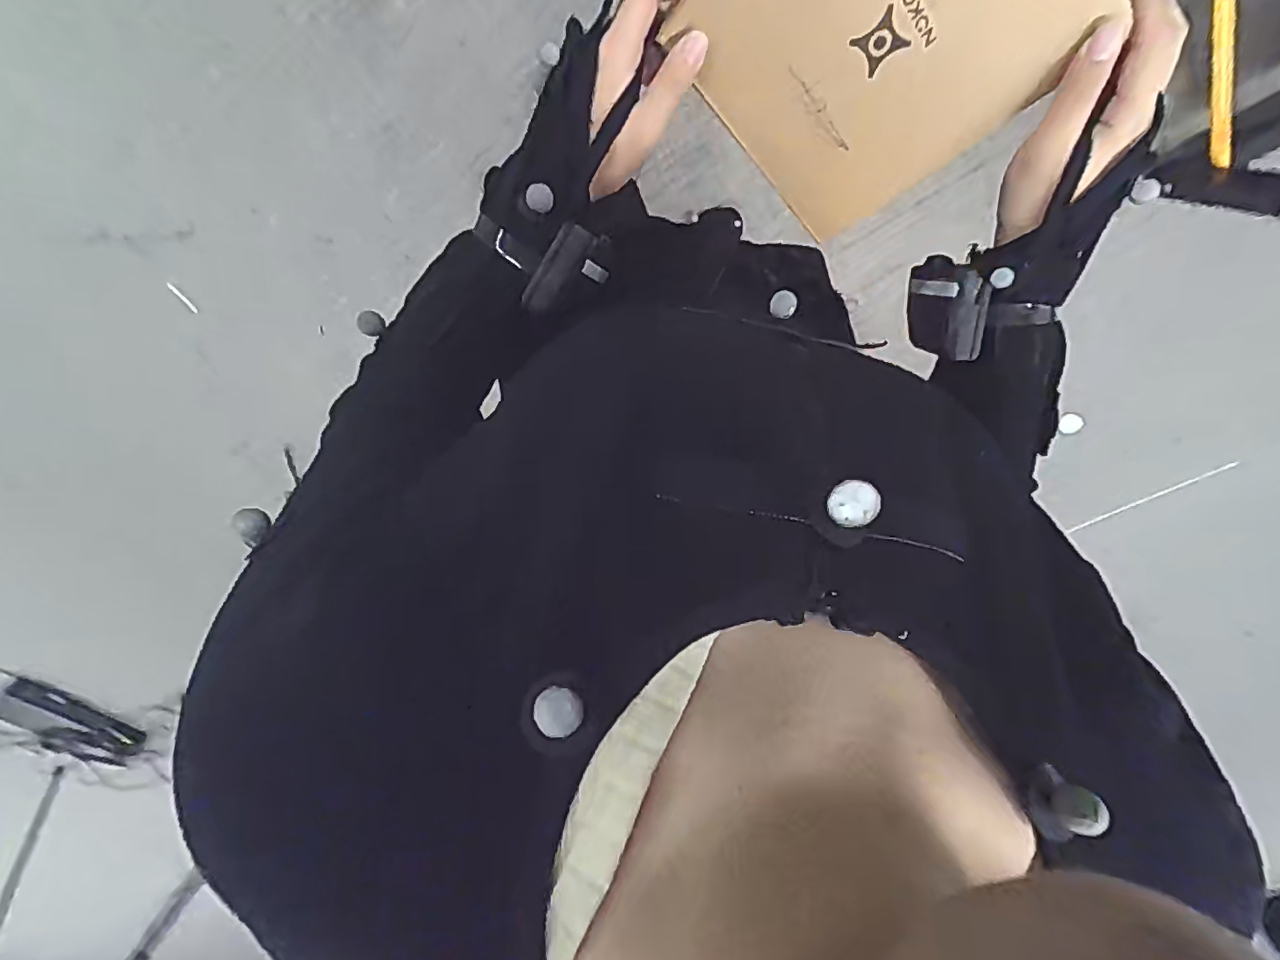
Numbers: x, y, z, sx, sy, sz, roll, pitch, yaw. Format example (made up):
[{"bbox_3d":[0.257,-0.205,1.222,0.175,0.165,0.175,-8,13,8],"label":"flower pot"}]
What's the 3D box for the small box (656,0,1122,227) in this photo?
[{"bbox_3d":[0.130,-0.306,0.321,0.168,0.176,0.179,32,140,-31],"label":"small box"}]
